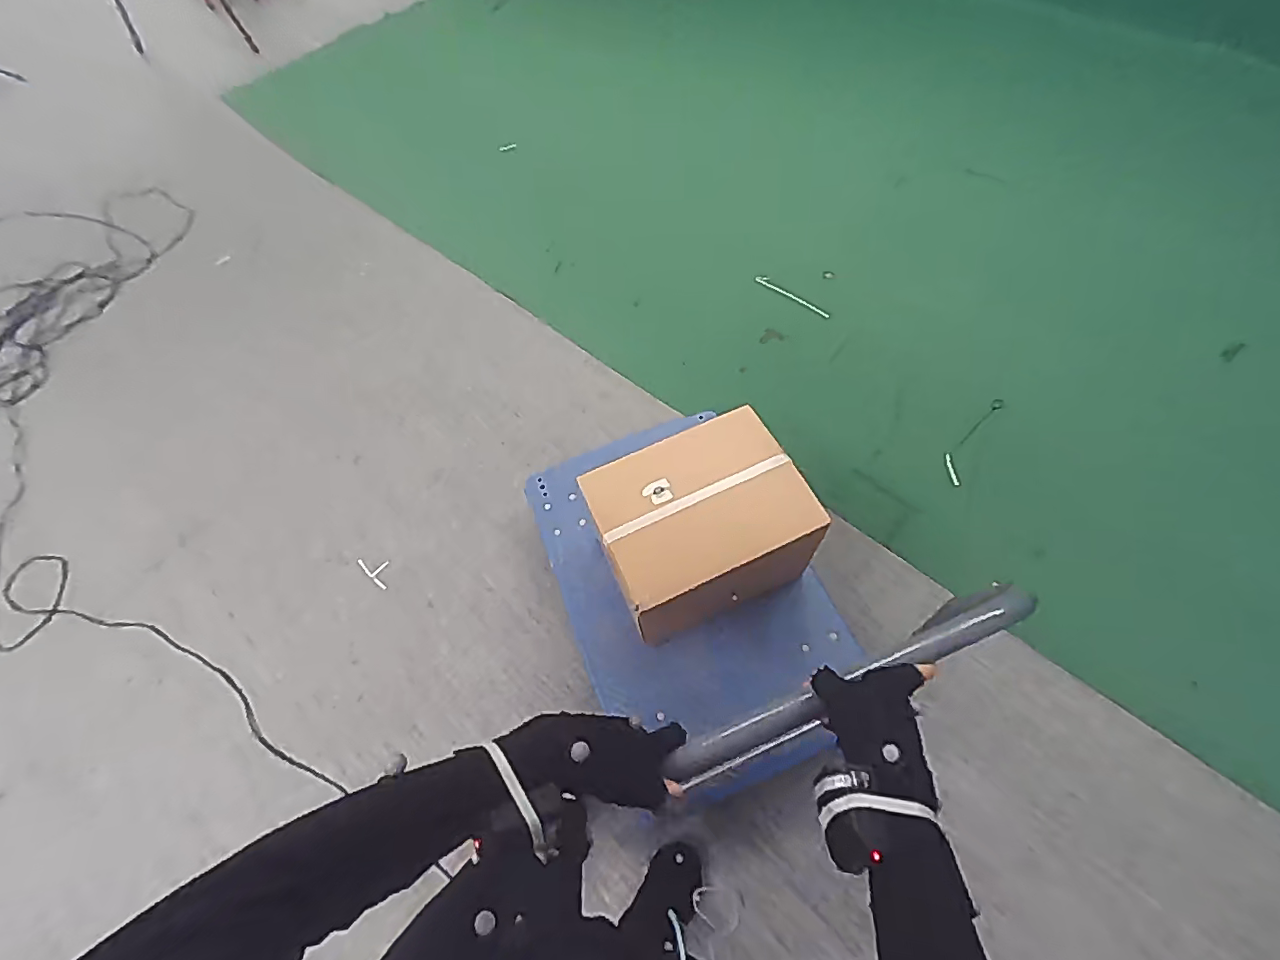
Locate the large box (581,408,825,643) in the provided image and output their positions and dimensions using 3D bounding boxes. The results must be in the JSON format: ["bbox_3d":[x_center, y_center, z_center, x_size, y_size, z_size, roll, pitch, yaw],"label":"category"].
[{"bbox_3d":[0.131,0.111,1.208,0.408,0.320,0.320,-25,62,-8],"label":"large box"}]
